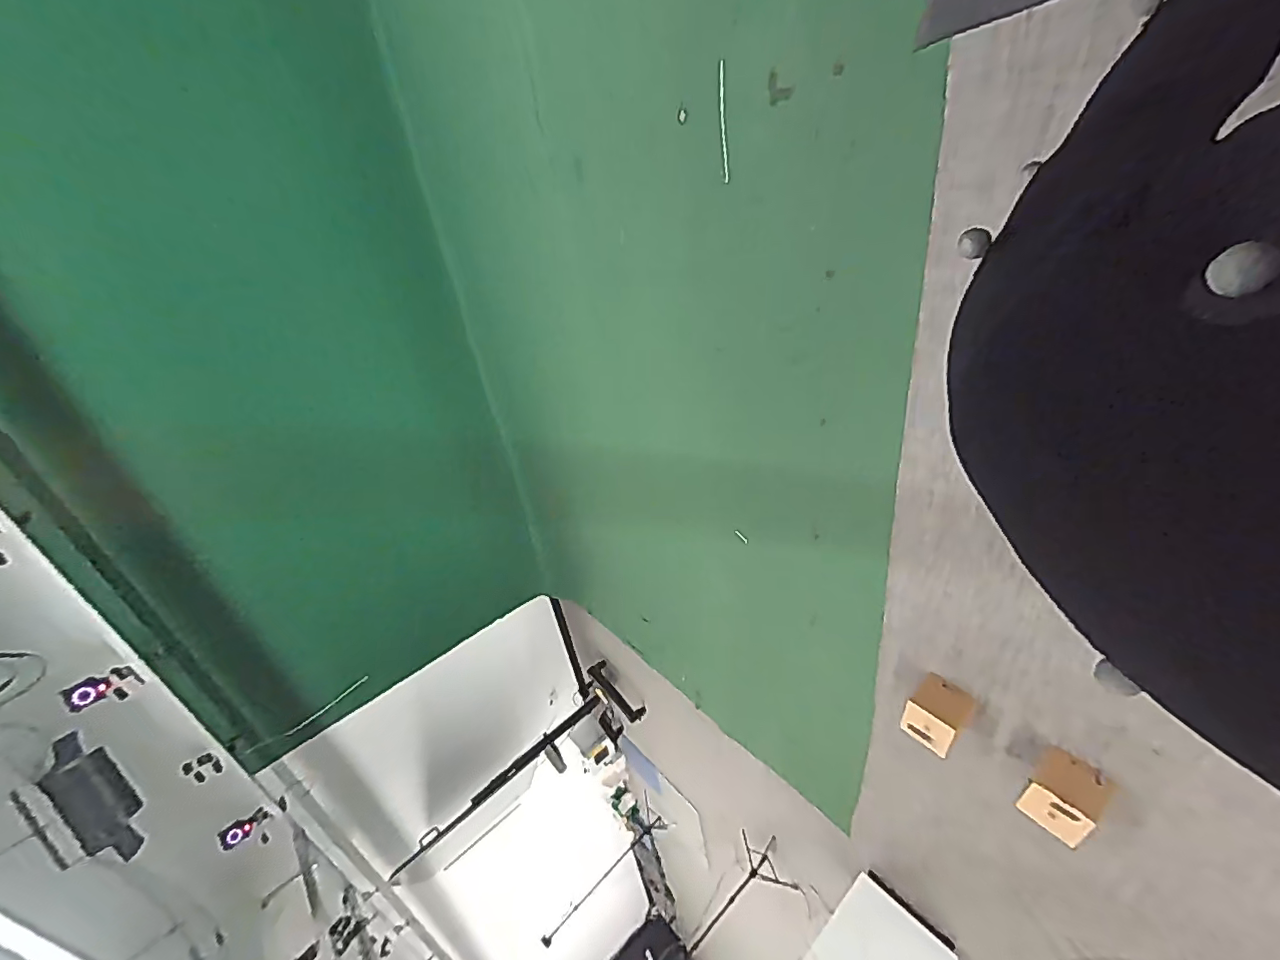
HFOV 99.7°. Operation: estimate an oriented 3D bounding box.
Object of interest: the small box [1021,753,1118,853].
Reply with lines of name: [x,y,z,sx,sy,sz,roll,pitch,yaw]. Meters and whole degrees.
small box: [1.330,0.992,1.672,0.168,0.176,0.179,33,141,40]
